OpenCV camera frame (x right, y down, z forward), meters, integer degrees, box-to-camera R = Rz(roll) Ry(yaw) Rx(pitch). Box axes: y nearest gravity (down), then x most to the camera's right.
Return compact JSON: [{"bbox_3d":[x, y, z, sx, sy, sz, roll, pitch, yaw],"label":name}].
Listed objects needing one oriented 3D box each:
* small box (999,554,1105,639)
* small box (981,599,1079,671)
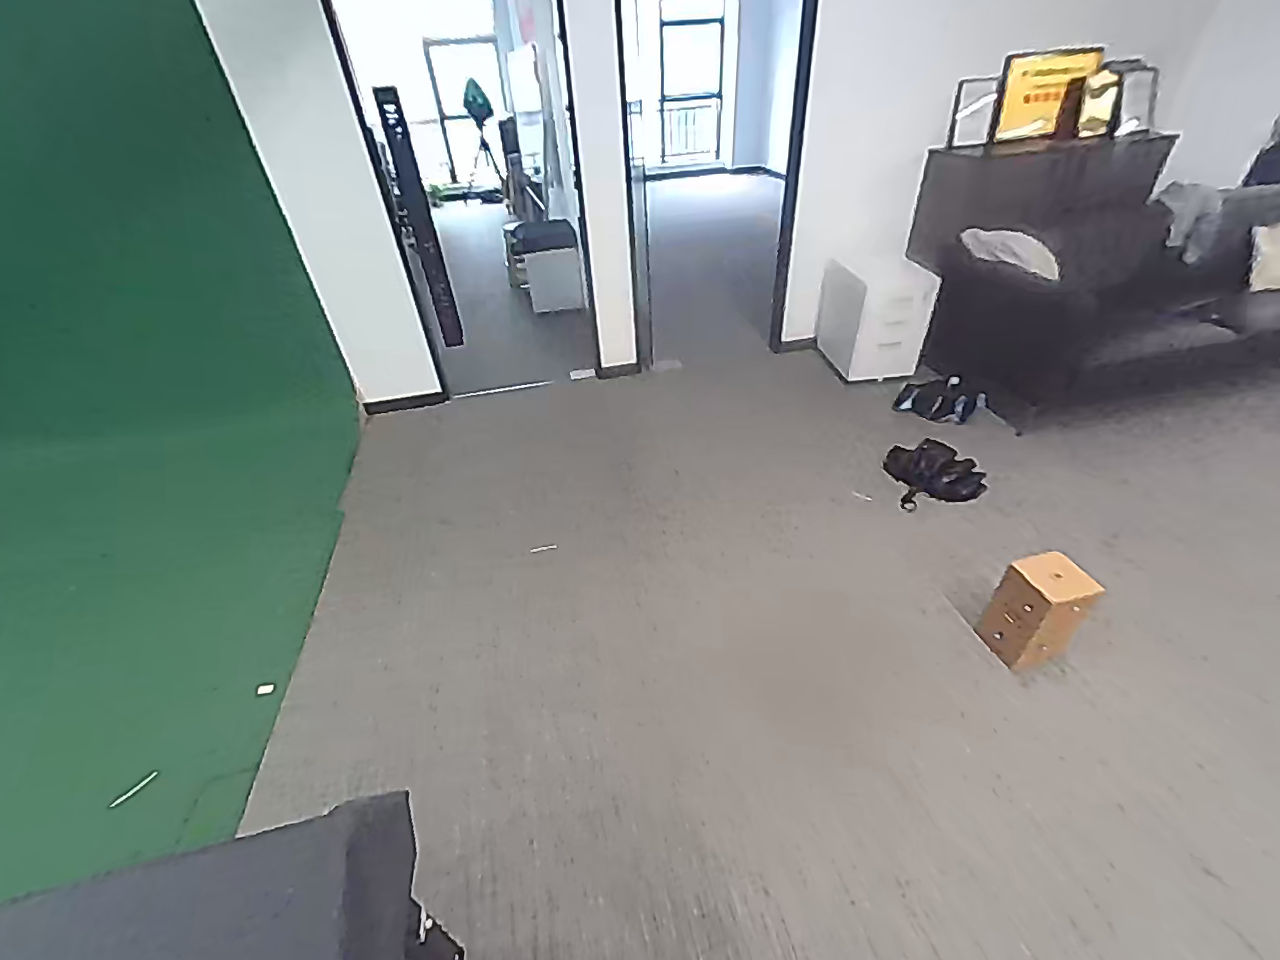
[{"bbox_3d":[1.220,0.353,1.624,0.179,0.176,0.168,-10,38,-10],"label":"small box"},{"bbox_3d":[1.228,0.482,1.722,0.179,0.176,0.168,-11,38,-10],"label":"small box"}]
